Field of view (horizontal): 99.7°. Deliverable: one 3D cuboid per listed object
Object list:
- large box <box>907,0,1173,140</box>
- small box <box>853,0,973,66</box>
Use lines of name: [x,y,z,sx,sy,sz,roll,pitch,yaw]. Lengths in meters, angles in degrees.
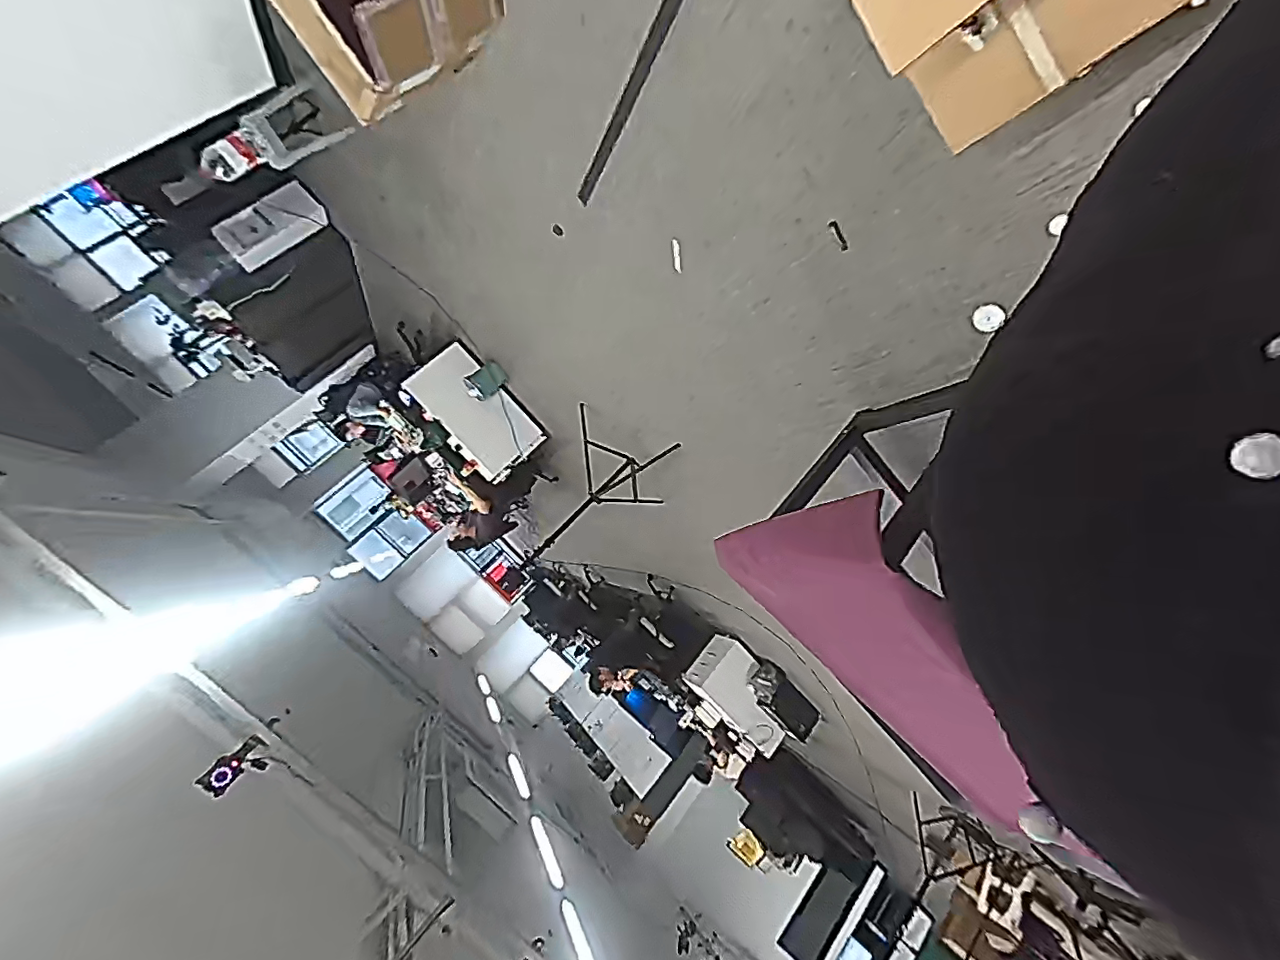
large box: [0.538,-0.793,0.725,0.408,0.320,0.320,47,162,-13]
small box: [0.361,-0.648,0.627,0.168,0.176,0.179,49,159,-17]
